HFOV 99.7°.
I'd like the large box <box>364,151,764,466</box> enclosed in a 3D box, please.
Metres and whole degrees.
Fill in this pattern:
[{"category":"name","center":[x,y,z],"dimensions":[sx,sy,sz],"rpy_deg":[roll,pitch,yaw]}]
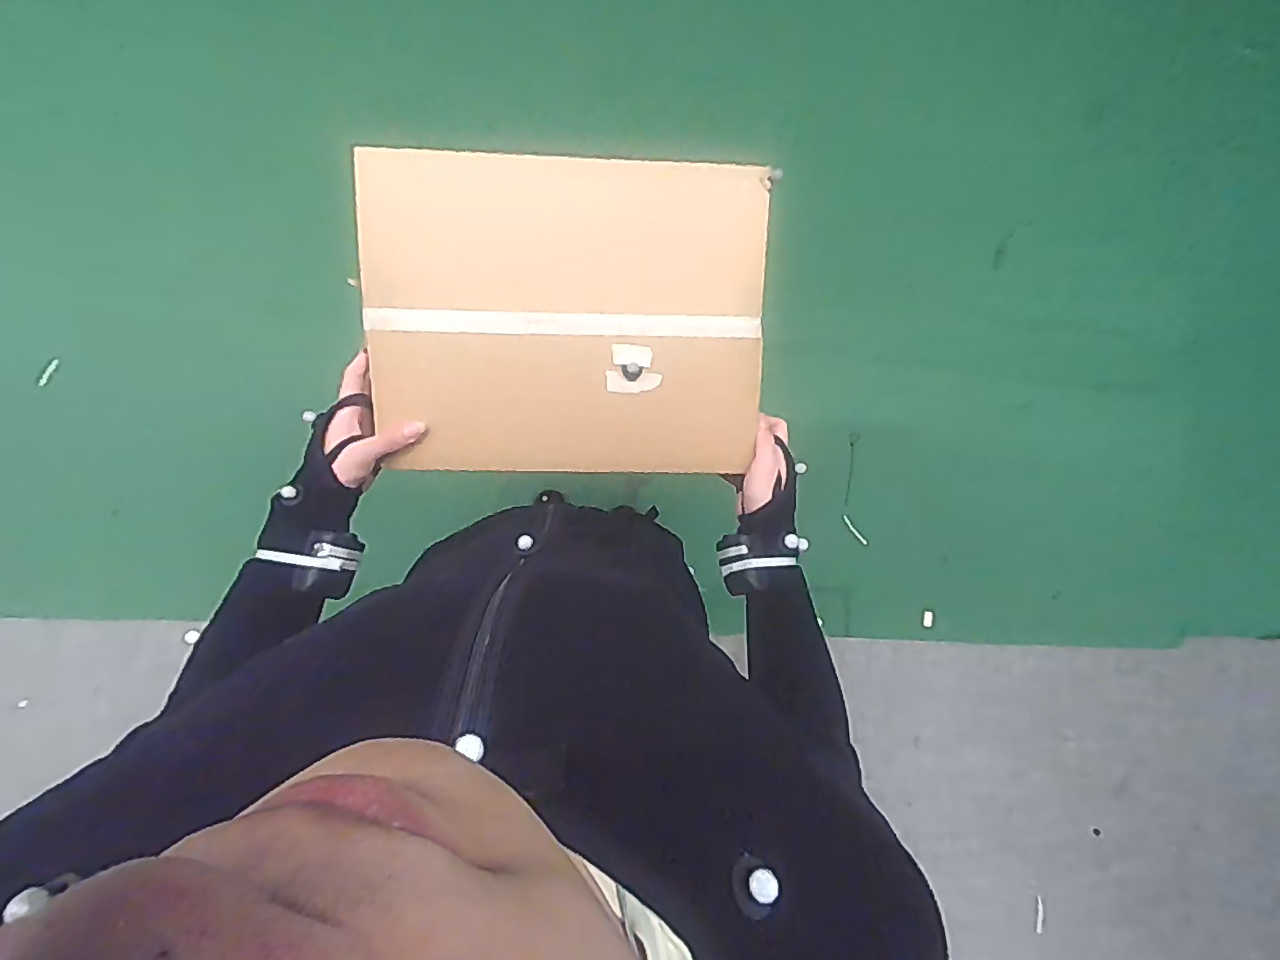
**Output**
[{"category":"large box","center":[-0.084,-0.197,0.710],"dimensions":[0.408,0.320,0.320],"rpy_deg":[0,102,-5]}]
